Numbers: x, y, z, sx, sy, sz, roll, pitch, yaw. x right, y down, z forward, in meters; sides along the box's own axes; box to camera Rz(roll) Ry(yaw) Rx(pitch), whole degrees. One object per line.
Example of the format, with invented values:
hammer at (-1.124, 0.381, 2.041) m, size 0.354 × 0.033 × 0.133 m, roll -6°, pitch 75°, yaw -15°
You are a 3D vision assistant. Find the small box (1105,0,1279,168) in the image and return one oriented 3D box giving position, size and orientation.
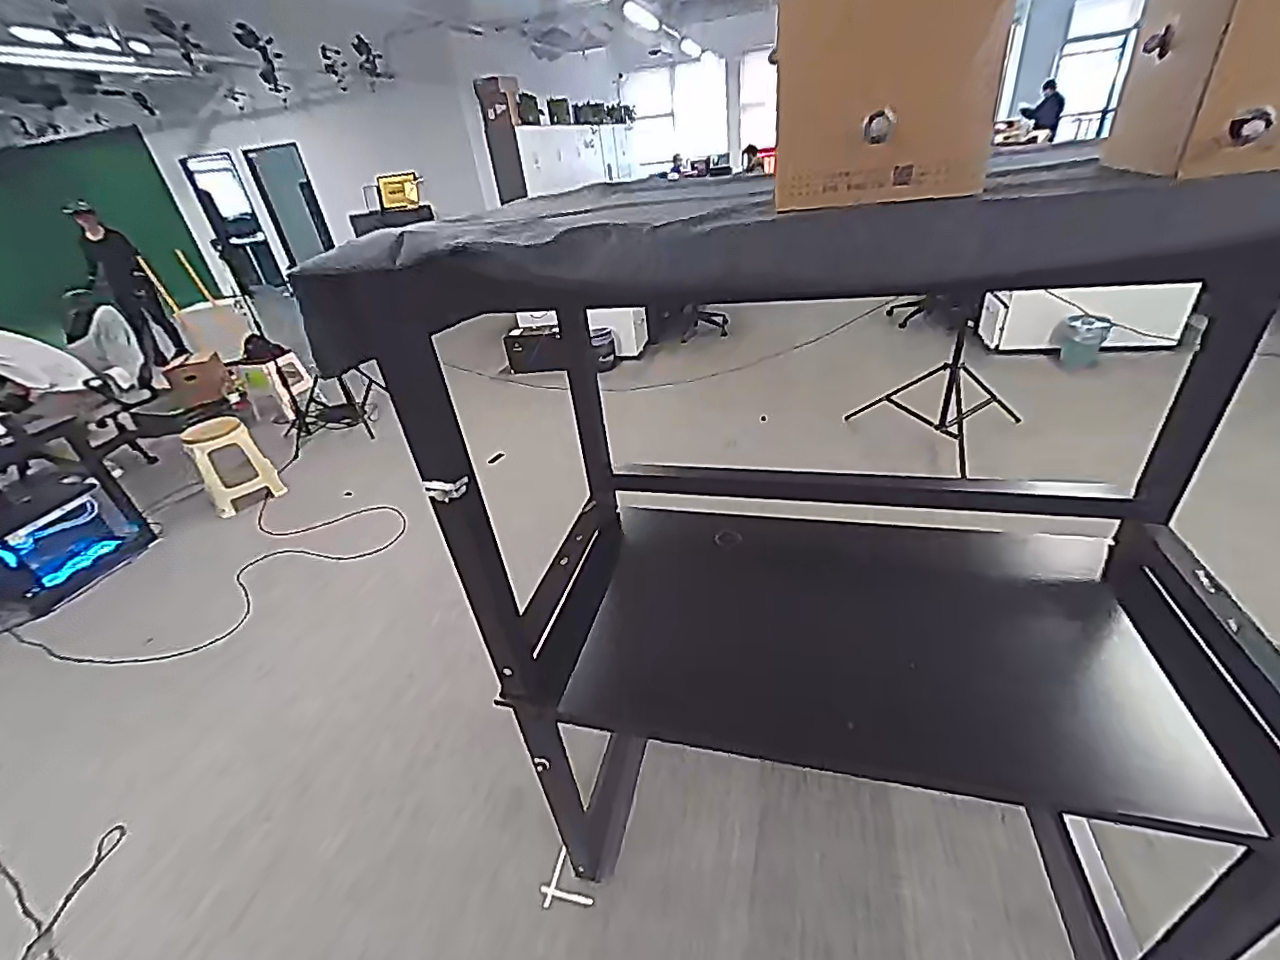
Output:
small box at (0.502, -0.342, 0.409) m, size 0.168 × 0.176 × 0.179 m, roll 5°, pitch 32°, yaw 19°

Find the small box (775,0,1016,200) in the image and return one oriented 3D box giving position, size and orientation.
small box at (0.213, -0.354, 0.486) m, size 0.168 × 0.176 × 0.179 m, roll 3°, pitch 31°, yaw 17°
